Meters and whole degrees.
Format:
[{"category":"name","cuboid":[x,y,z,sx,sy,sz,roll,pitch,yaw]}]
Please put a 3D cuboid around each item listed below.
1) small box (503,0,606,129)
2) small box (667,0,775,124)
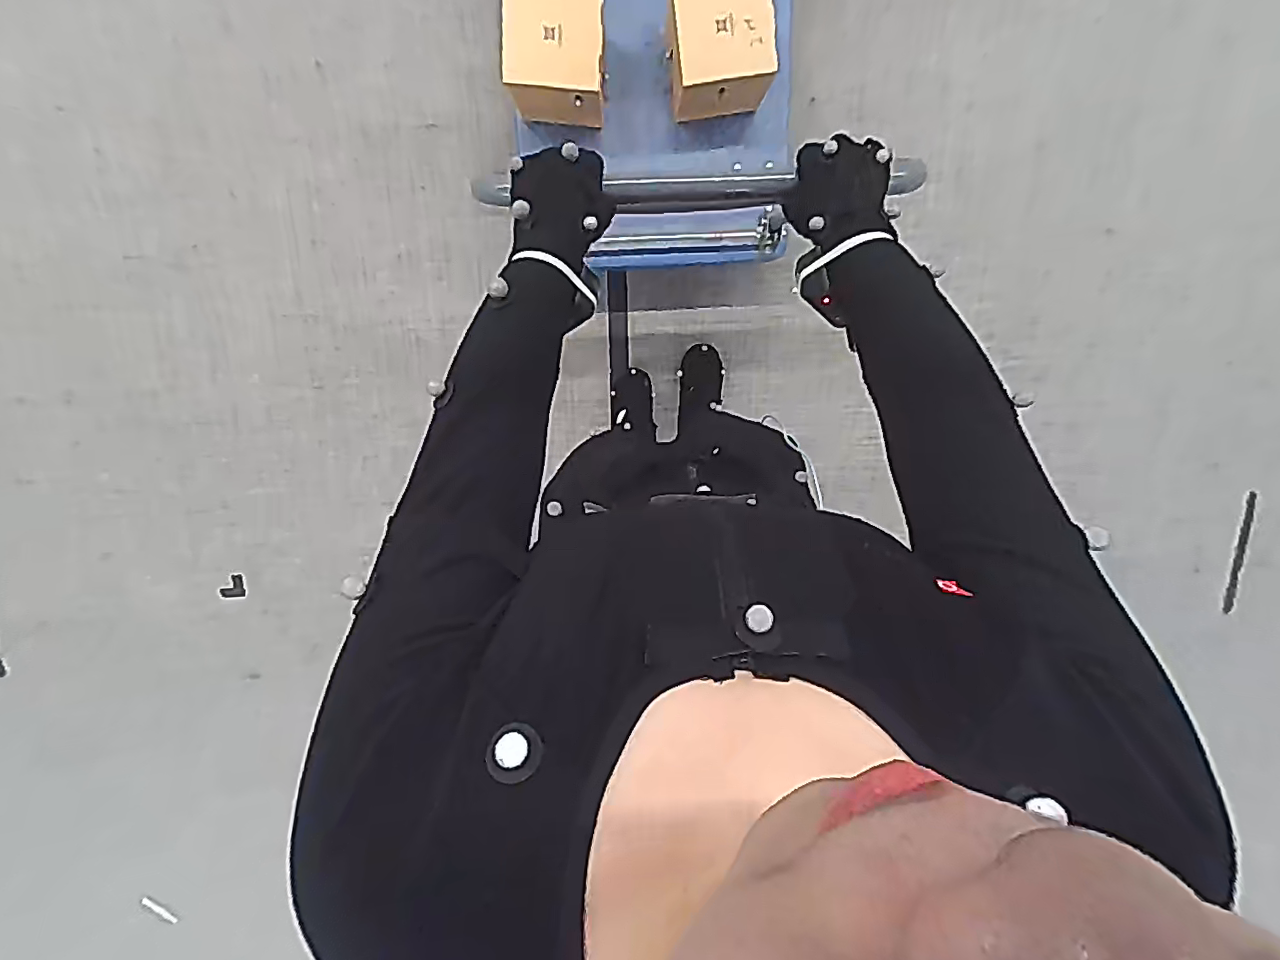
[{"category":"small box","cuboid":[-0.157,-0.796,1.033,0.179,0.176,0.168,2,104,-4]},{"category":"small box","cuboid":[0.147,-0.814,1.038,0.179,0.176,0.168,-8,105,0]}]
